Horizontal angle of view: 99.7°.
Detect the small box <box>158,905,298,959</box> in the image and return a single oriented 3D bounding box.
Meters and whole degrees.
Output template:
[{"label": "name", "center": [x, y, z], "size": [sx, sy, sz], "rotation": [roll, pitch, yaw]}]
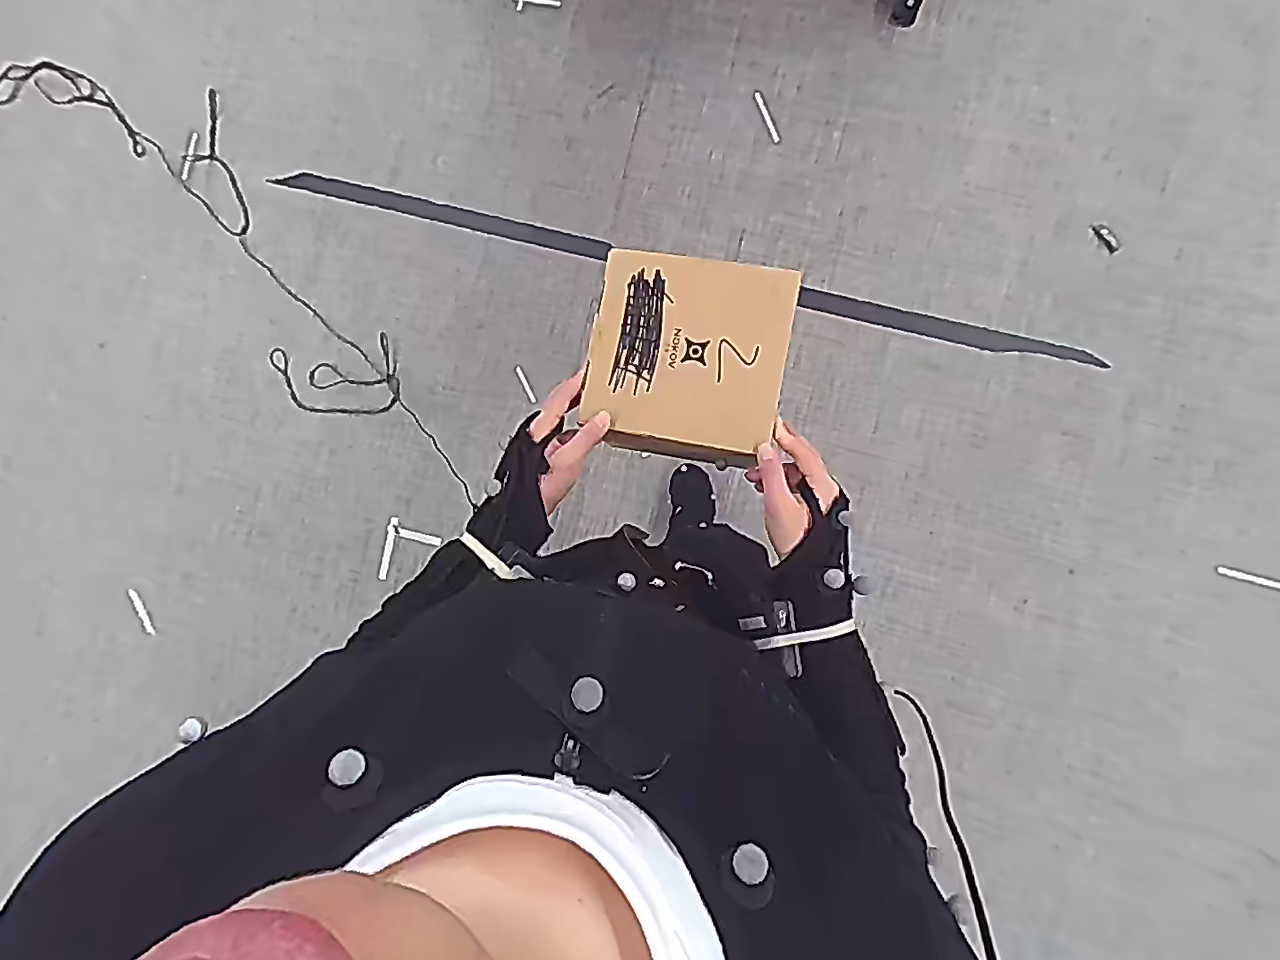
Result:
[{"label": "small box", "center": [-0.715, 0.862, 0.890], "size": [0.179, 0.176, 0.168], "rotation": [21, 90, 10]}]
